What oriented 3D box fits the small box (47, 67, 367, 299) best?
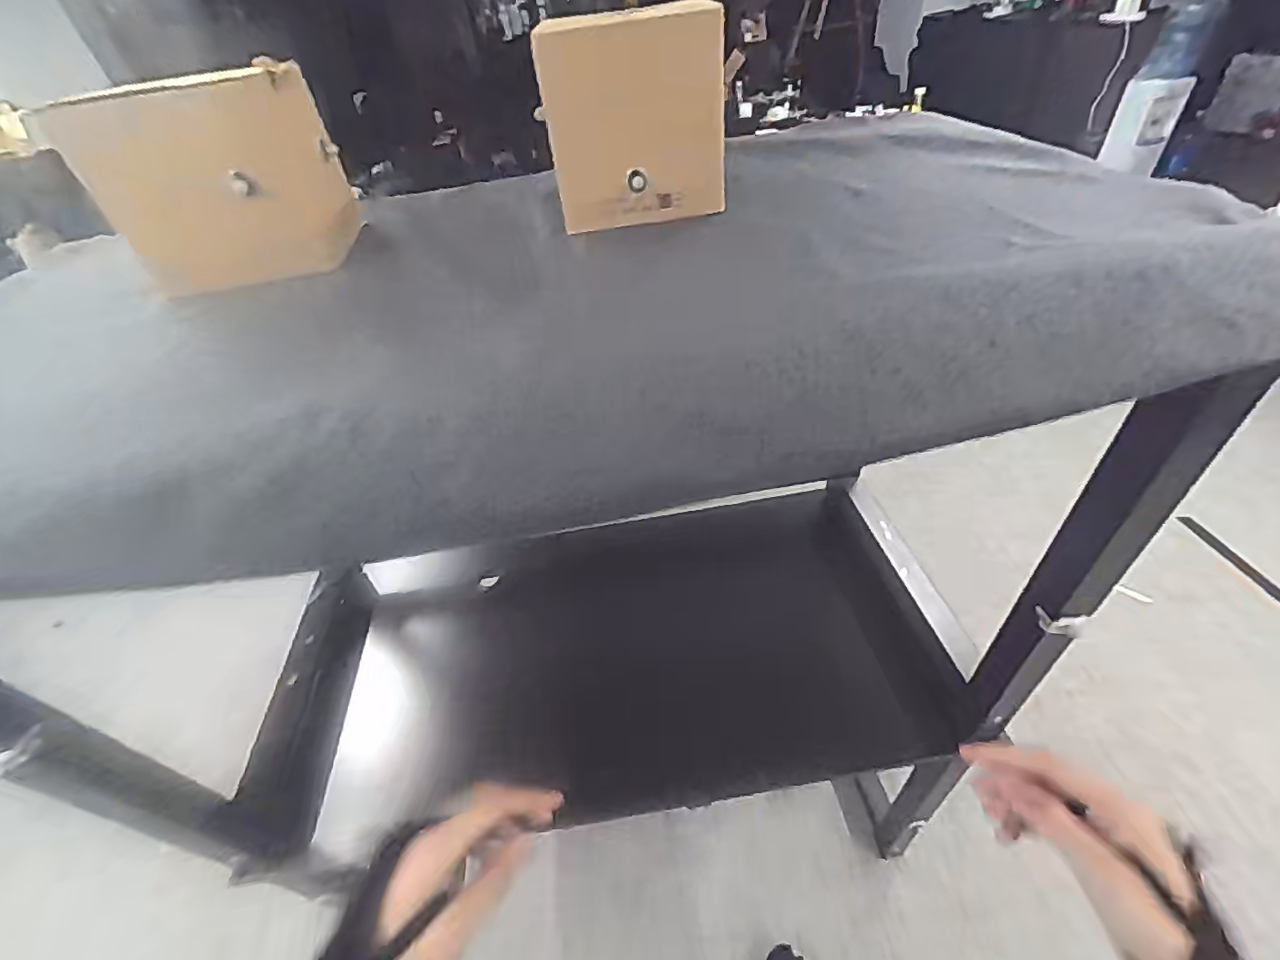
[{"bbox_3d":[-0.416,-0.310,0.567,0.179,0.176,0.168,-11,42,-4],"label":"small box"}]
